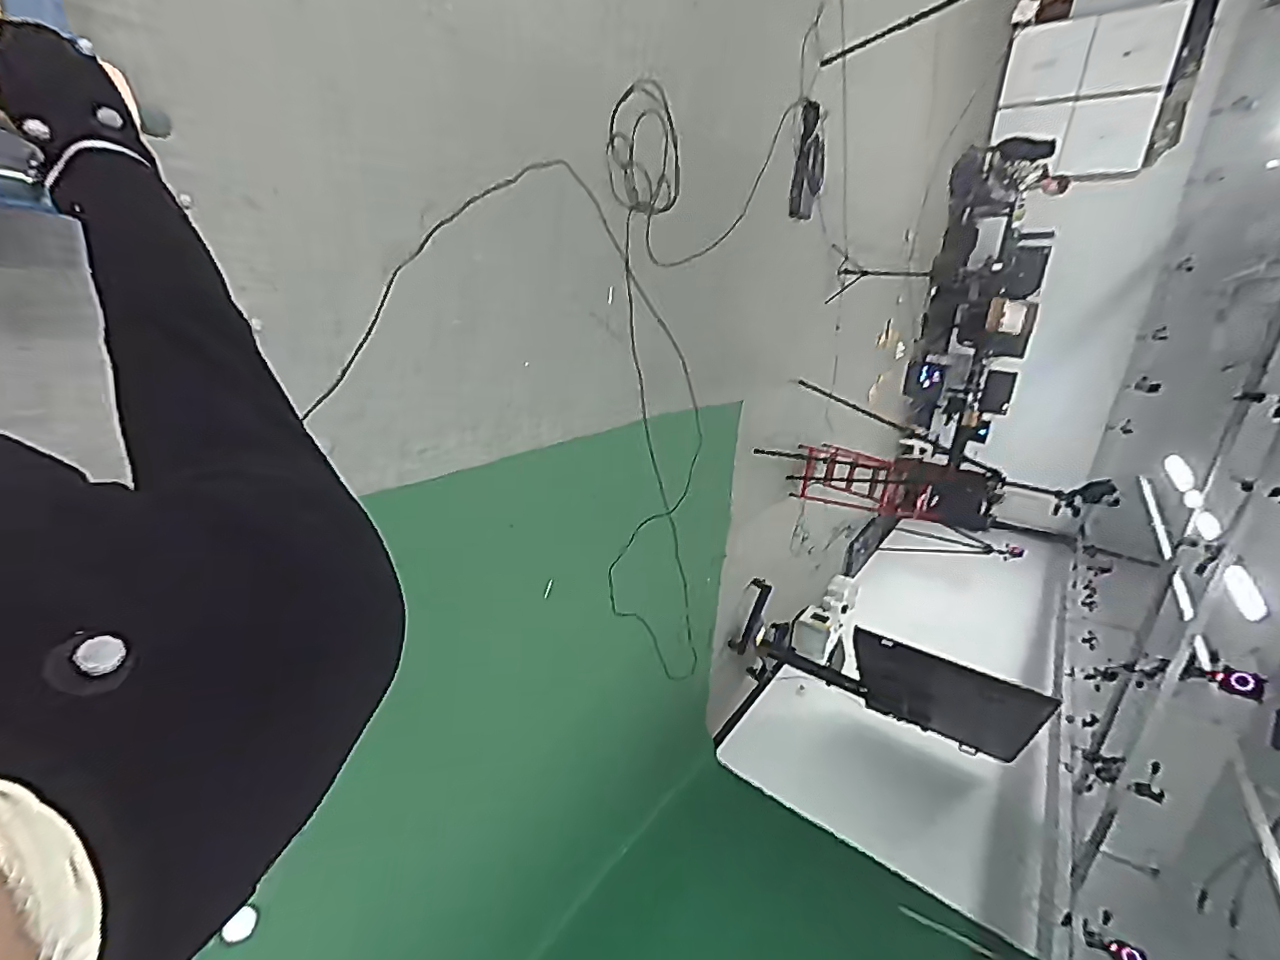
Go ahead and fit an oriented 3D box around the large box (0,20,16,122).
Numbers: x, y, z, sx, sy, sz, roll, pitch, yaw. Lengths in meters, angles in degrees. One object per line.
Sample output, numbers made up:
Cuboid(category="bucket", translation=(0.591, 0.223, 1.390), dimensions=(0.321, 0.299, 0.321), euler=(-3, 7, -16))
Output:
Cuboid(category="large box", translation=(-1.011, -0.677, 0.616), dimensions=(0.320, 0.320, 0.408), euler=(-17, 116, -52))
